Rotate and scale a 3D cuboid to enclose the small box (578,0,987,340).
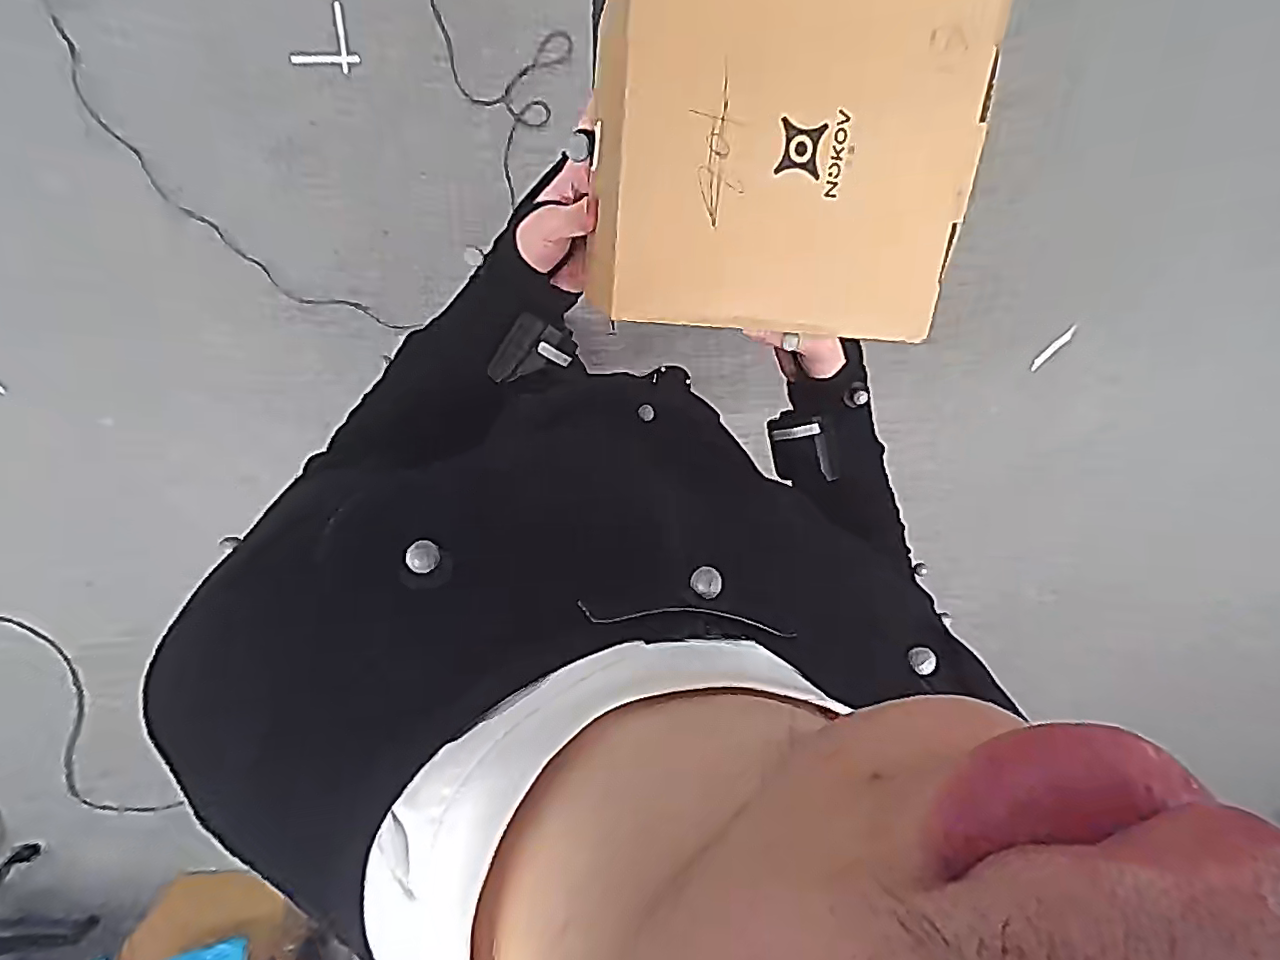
[{"bbox_3d":[0.058,-0.184,0.335,0.179,0.176,0.168,0,110,-10],"label":"small box"}]
